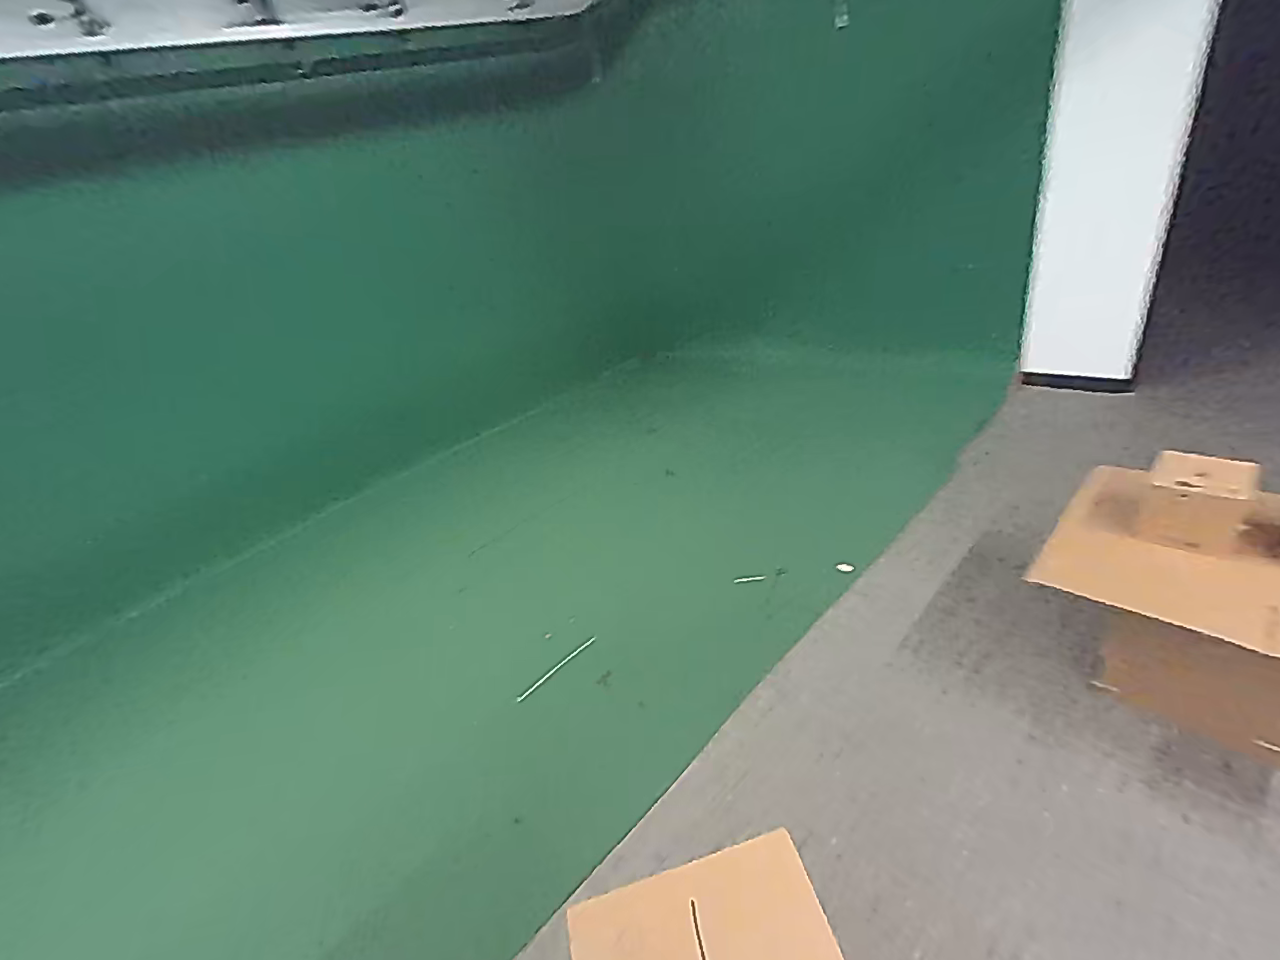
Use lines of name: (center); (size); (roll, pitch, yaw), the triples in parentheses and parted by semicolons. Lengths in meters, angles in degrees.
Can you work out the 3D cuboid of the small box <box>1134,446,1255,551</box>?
small box: (1.329, 0.042, 1.302); (0.179, 0.176, 0.168); (-35, 34, -32)
